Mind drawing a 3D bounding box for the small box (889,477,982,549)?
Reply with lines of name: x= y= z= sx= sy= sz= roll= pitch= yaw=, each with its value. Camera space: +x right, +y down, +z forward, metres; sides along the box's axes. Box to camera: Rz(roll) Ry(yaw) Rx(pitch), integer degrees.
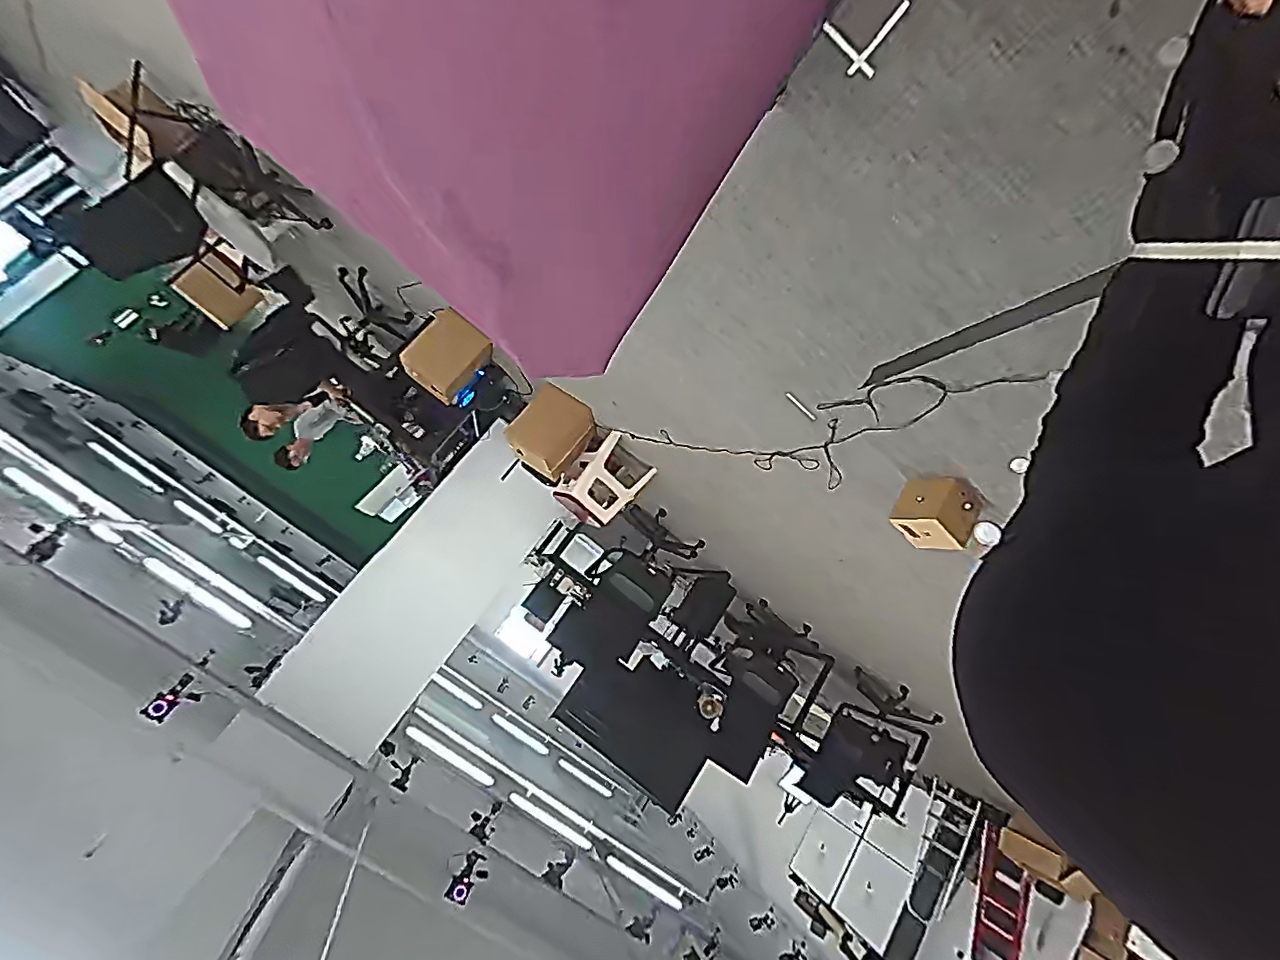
small box: x=0.955 y=0.104 z=1.746 sx=0.168 sy=0.176 sz=0.179 roll=41 pitch=161 yaw=-17
